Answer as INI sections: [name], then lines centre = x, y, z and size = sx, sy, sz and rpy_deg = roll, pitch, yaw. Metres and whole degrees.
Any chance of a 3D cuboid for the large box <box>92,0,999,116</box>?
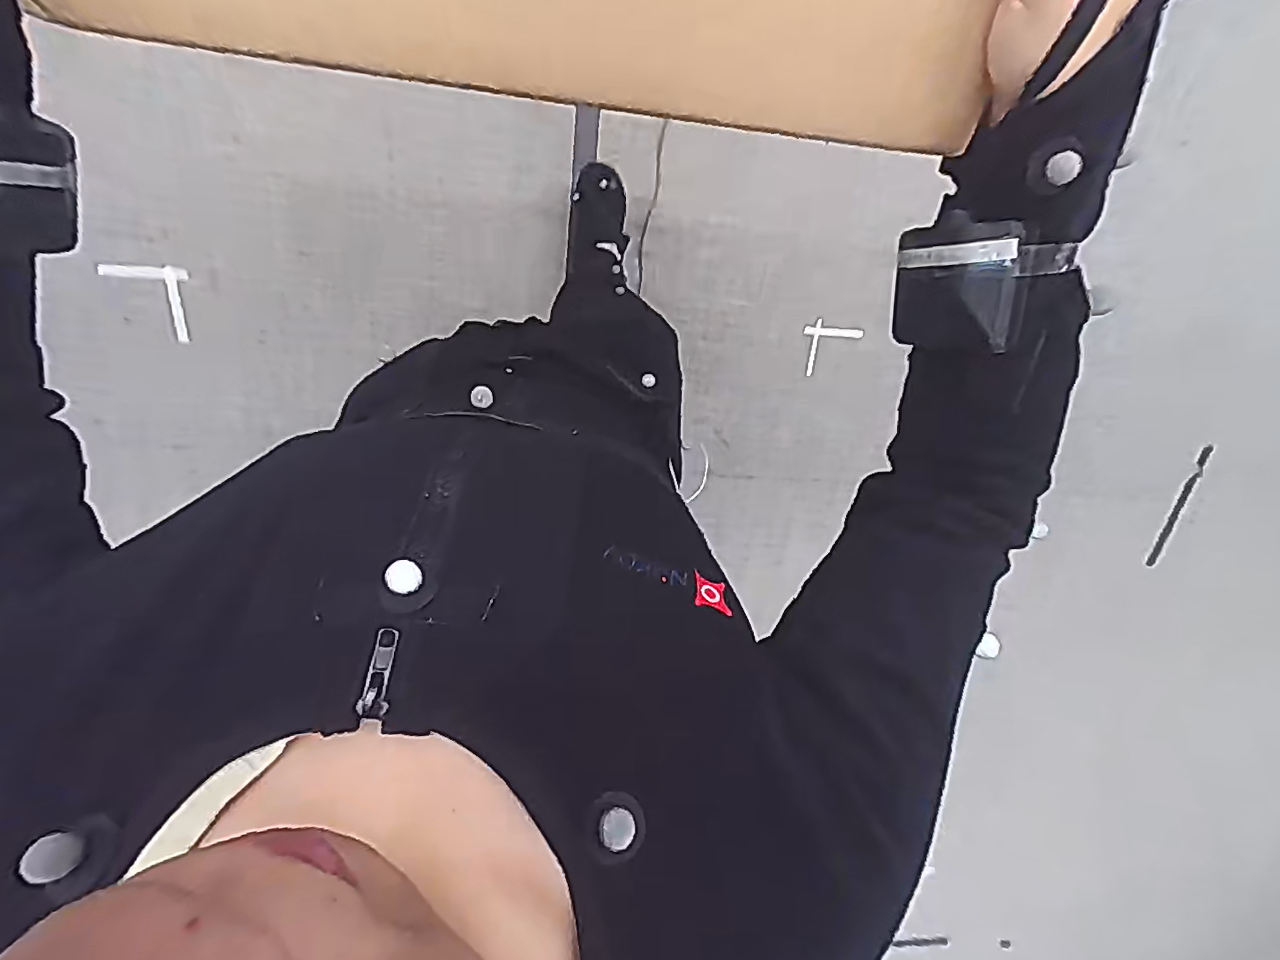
[large box]
centre = -0.034, -0.399, 0.275
size = 0.408, 0.320, 0.320
rpy_deg = 3, 127, -7
